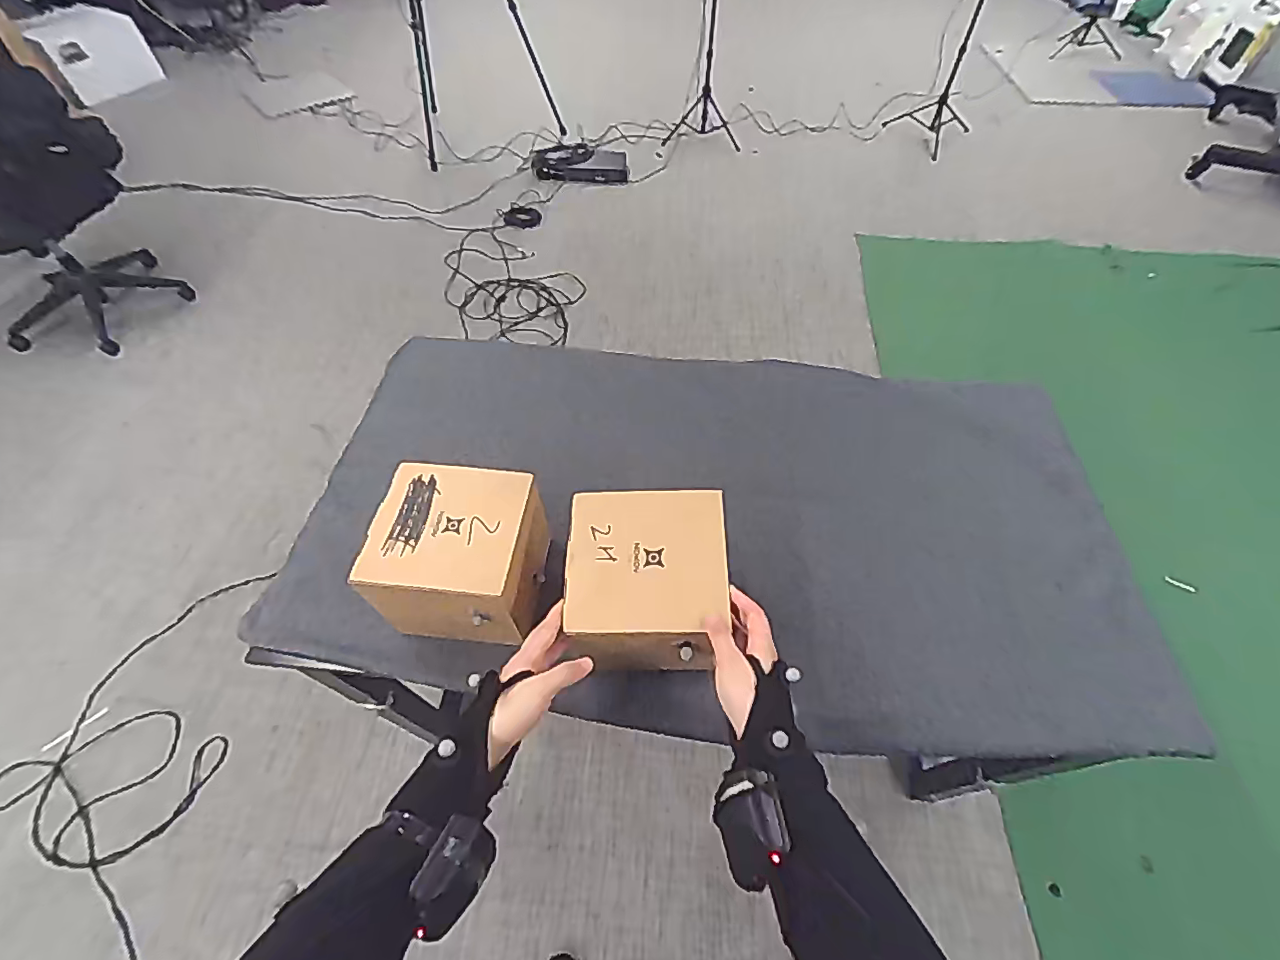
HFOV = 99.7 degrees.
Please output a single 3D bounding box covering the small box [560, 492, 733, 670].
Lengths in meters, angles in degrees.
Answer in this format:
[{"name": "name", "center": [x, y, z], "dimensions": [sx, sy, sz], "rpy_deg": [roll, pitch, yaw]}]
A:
[{"name": "small box", "center": [0.014, 0.126, 0.649], "dimensions": [0.179, 0.176, 0.168], "rpy_deg": [-2, 59, 5]}]
